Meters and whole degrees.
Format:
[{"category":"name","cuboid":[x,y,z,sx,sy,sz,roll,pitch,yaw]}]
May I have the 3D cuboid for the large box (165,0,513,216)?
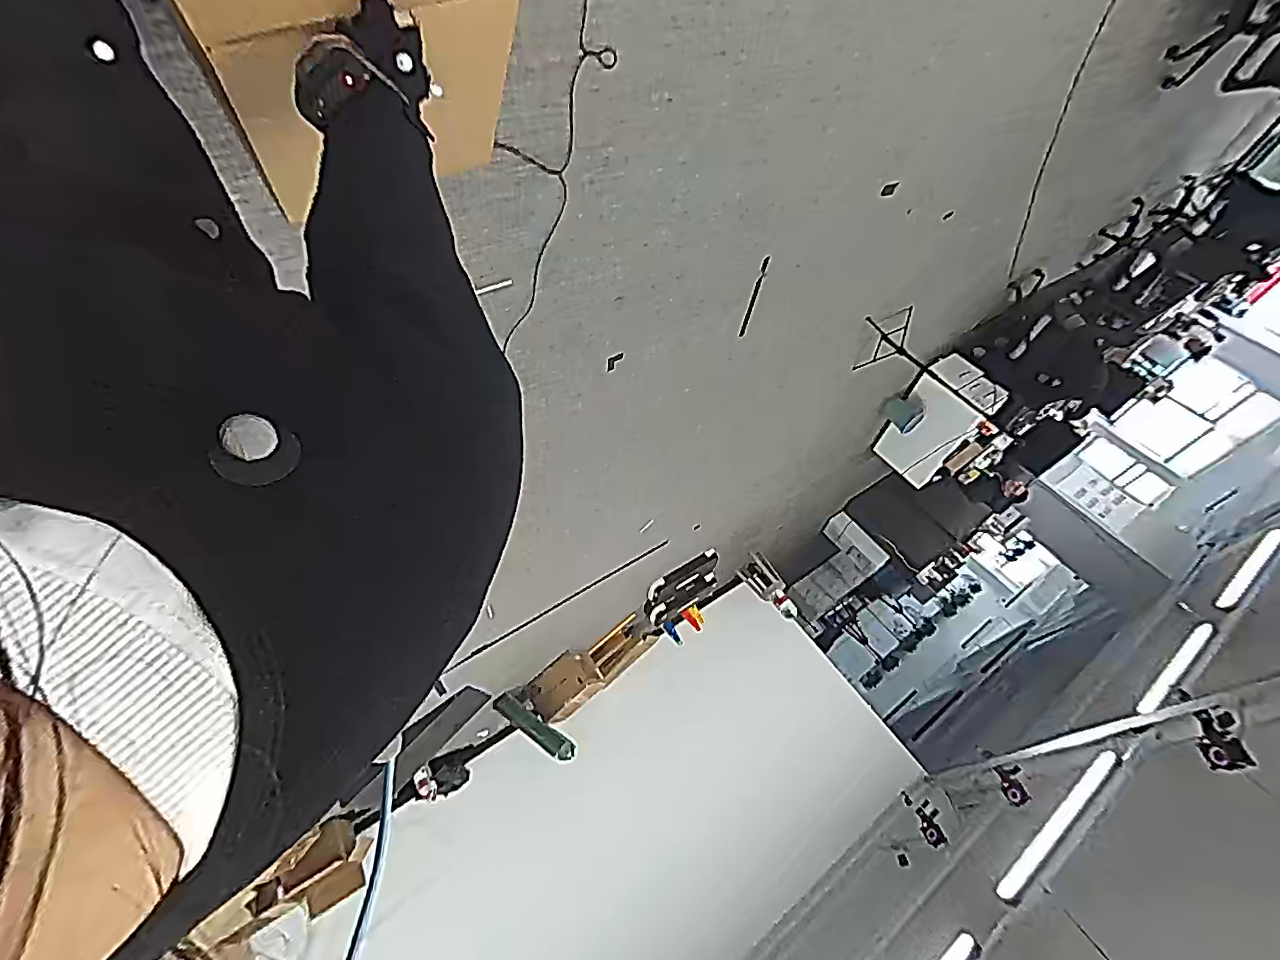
[{"category":"large box","cuboid":[-0.401,-0.618,0.644,0.320,0.408,0.320,-32,-171,-21]}]
